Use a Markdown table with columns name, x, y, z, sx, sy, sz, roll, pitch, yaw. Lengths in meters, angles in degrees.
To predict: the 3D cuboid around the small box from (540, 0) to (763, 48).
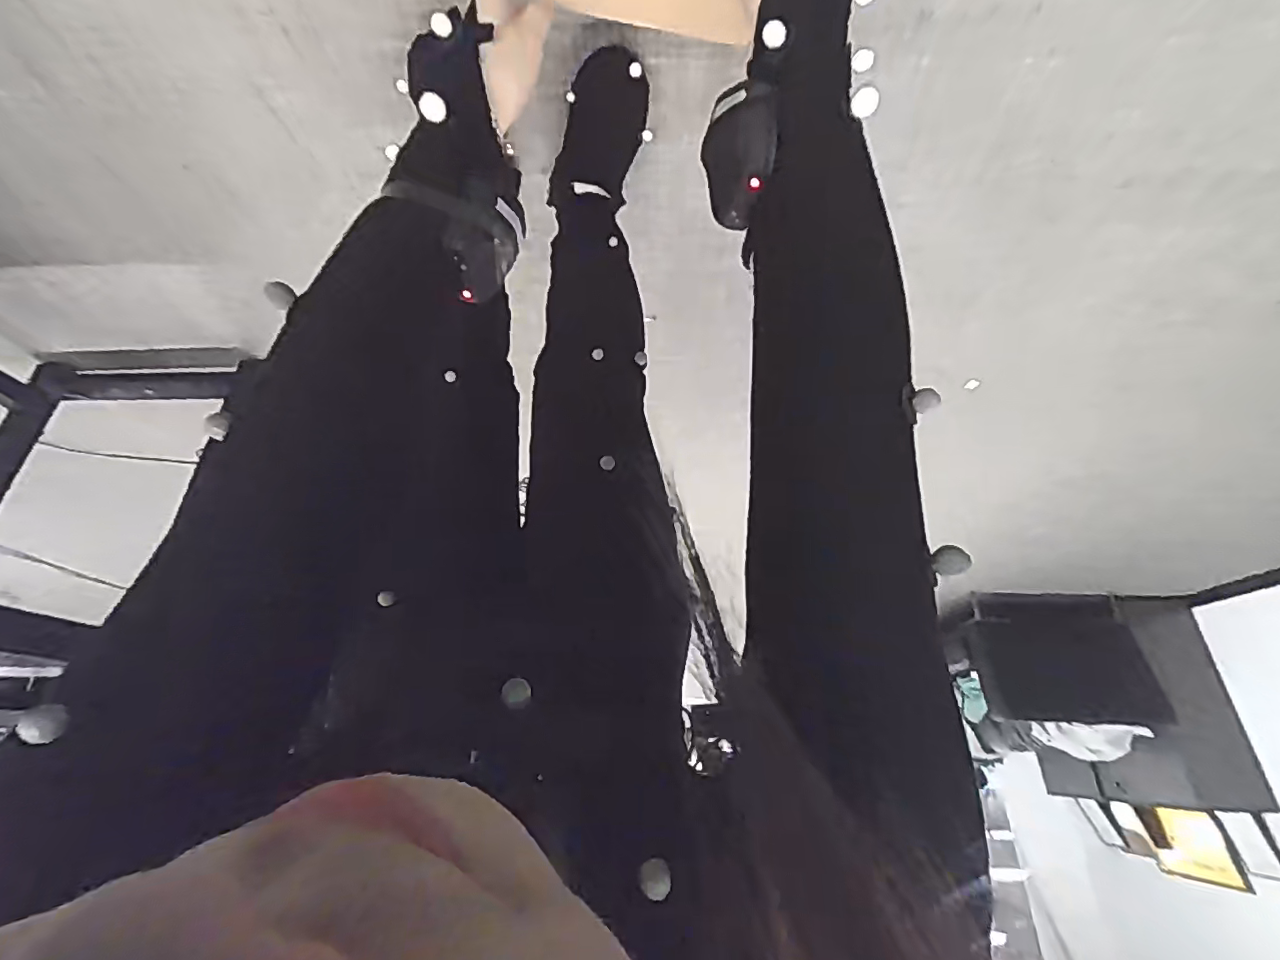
| name | x | y | z | sx | sy | sz | roll | pitch | yaw |
| --- | --- | --- | --- | --- | --- | --- | --- | --- | --- |
| small box | 0.019 | -0.464 | 0.388 | 0.179 | 0.176 | 0.168 | 5 | 154 | -8 |
